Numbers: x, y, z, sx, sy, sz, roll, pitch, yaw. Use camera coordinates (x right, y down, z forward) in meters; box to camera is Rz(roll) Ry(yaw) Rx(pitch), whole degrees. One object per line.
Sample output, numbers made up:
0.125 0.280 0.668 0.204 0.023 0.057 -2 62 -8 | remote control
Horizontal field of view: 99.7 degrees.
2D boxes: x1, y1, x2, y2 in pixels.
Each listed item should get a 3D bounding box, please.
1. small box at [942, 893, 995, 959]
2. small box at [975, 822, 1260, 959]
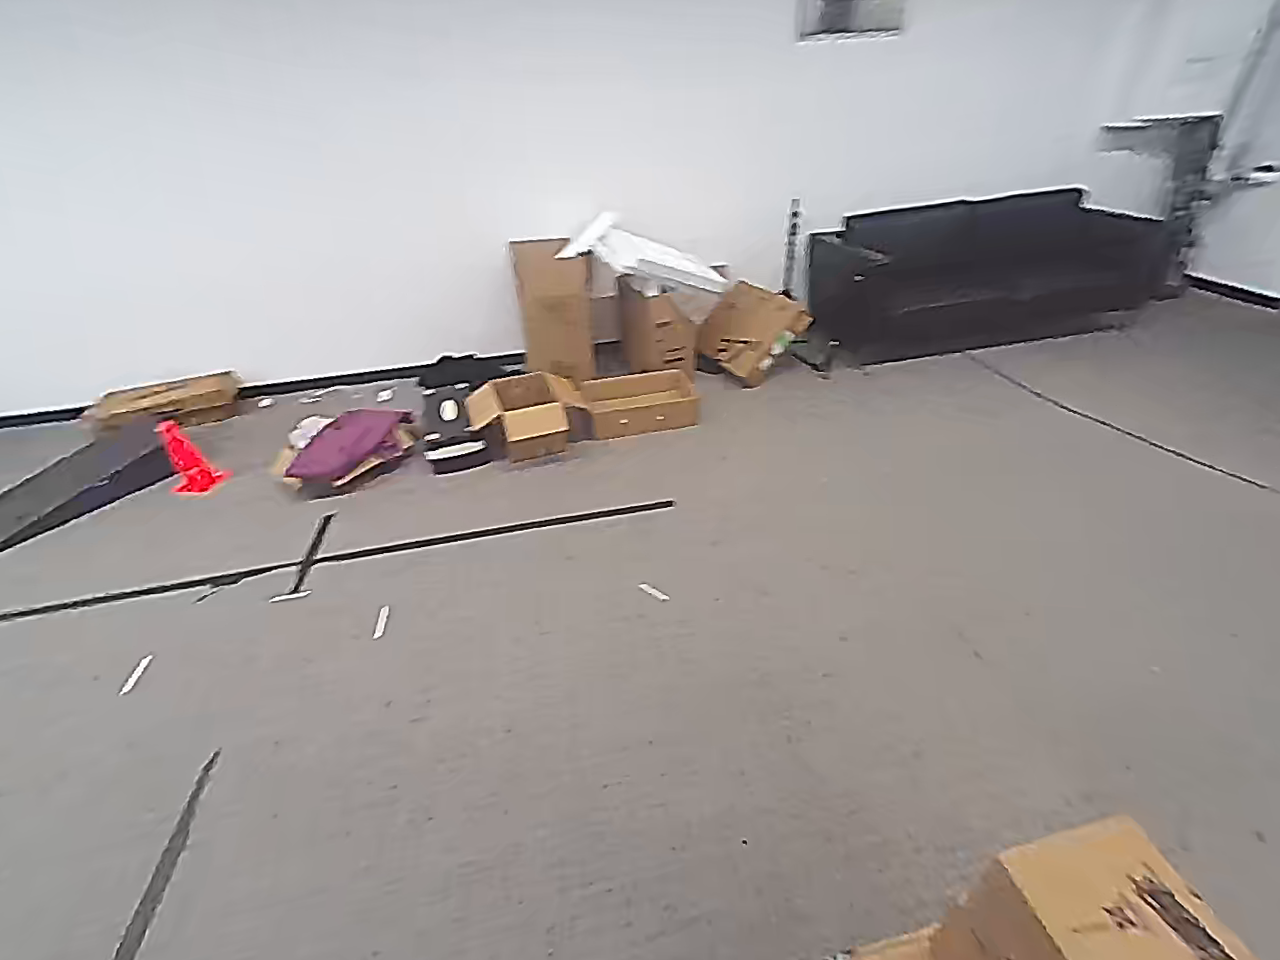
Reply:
0.532 0.647 0.702 0.179 0.176 0.168 -13 34 -9 | small box
0.516 0.520 0.597 0.179 0.176 0.168 -11 34 -5 | small box
